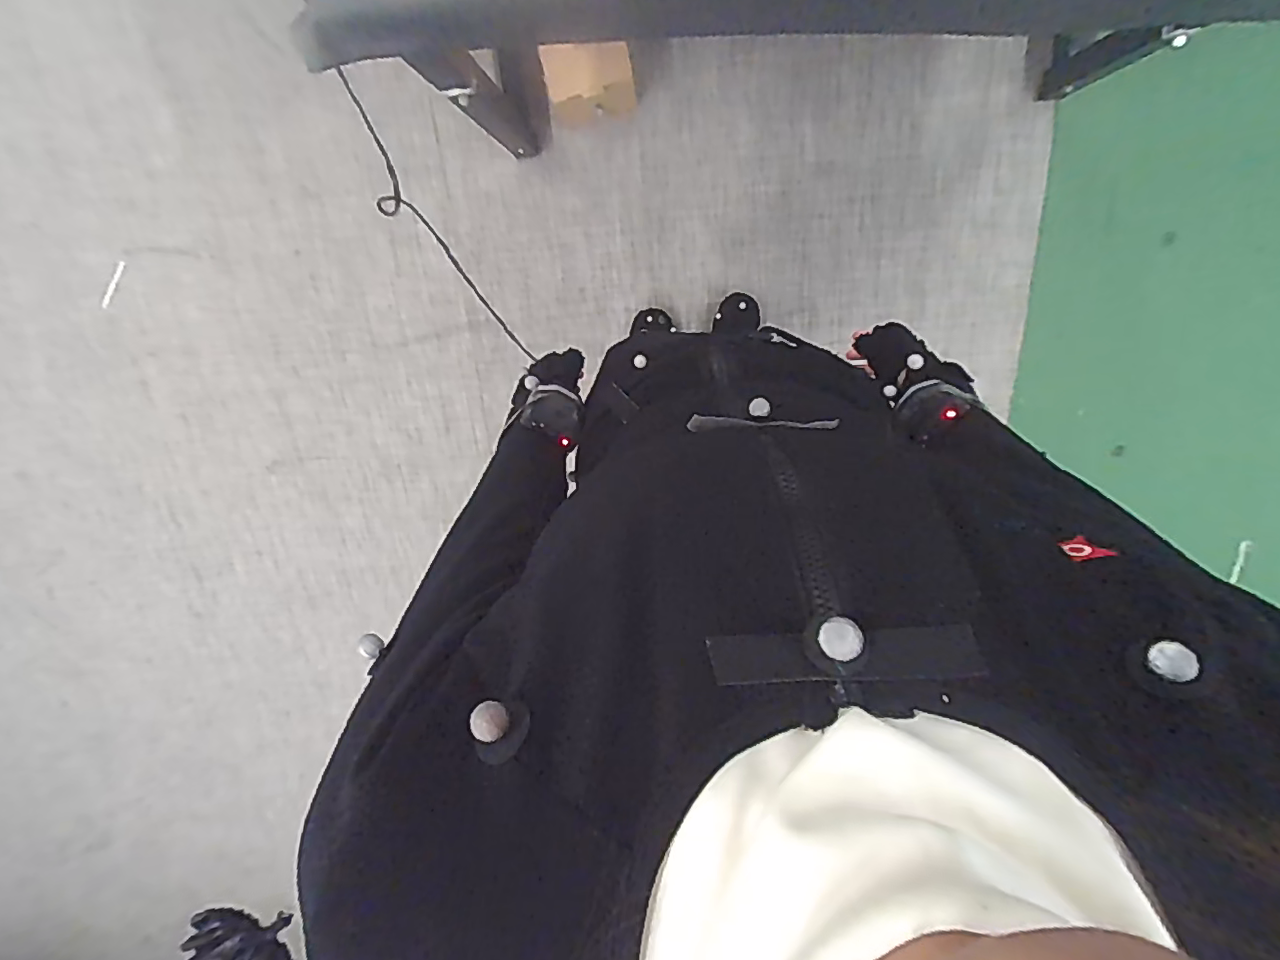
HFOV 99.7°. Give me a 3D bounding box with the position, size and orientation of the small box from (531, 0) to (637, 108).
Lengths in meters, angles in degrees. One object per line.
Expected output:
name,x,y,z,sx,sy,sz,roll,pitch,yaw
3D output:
small box,-0.104,-0.873,1.079,0.168,0.176,0.179,-12,110,7
